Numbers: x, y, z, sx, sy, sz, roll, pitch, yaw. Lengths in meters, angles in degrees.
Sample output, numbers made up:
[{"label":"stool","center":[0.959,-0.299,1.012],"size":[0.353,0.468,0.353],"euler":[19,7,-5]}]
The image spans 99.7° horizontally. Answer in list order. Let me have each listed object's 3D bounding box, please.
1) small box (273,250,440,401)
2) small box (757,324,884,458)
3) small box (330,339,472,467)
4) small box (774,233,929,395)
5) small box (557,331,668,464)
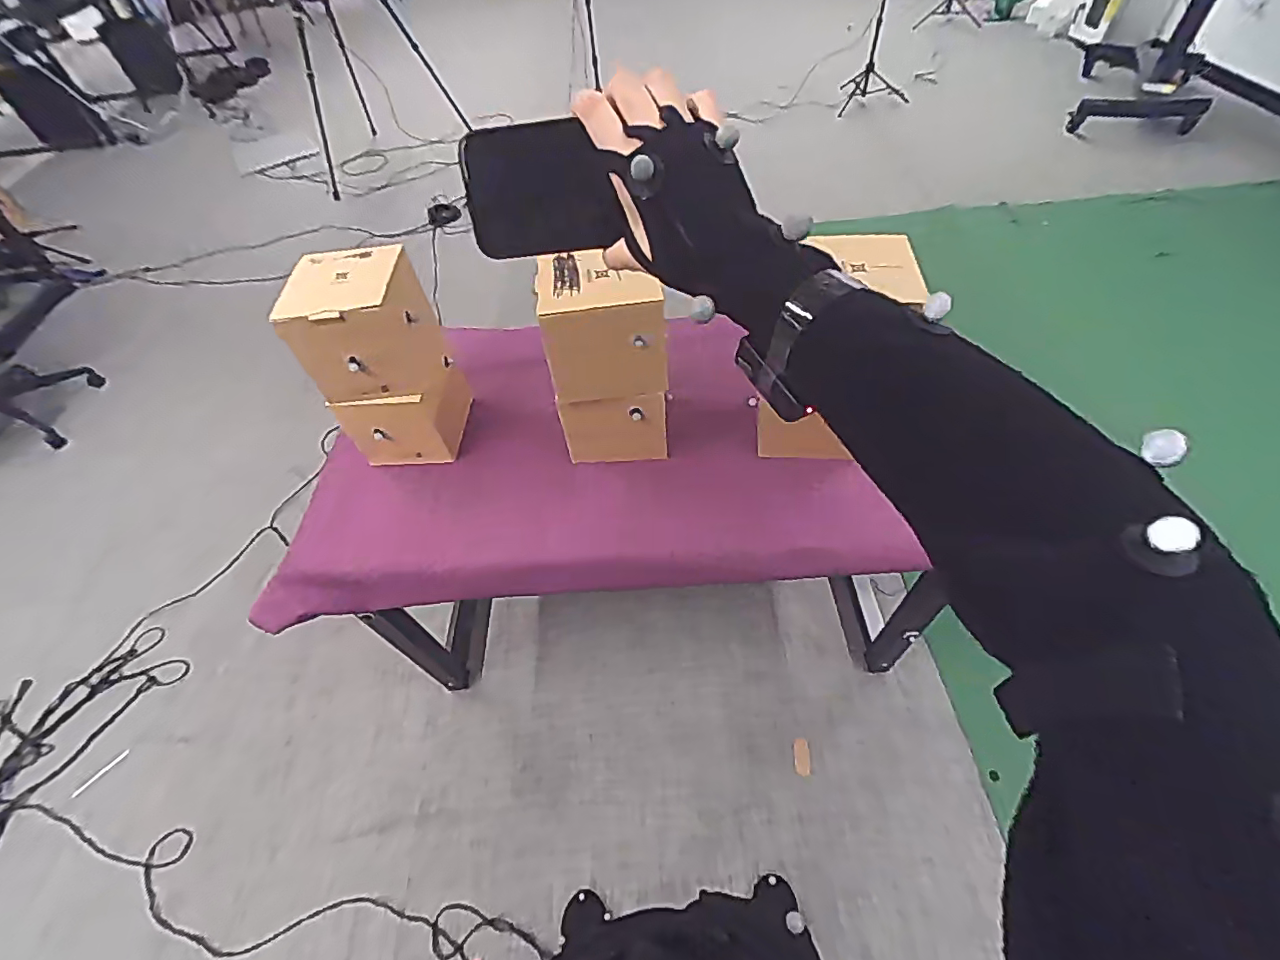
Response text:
[{"label":"small box","center":[-0.444,-0.243,0.882],"size":[0.168,0.176,0.179],"euler":[-7,52,1]},{"label":"small box","center":[0.299,-0.152,0.935],"size":[0.179,0.176,0.168],"euler":[1,52,8]},{"label":"small box","center":[-0.429,-0.136,1.006],"size":[0.168,0.176,0.179],"euler":[-3,52,4]},{"label":"small box","center":[0.293,-0.240,0.797],"size":[0.179,0.176,0.168],"euler":[2,52,7]},{"label":"small box","center":[-0.040,-0.143,0.966],"size":[0.179,0.176,0.168],"euler":[-4,52,4]}]
